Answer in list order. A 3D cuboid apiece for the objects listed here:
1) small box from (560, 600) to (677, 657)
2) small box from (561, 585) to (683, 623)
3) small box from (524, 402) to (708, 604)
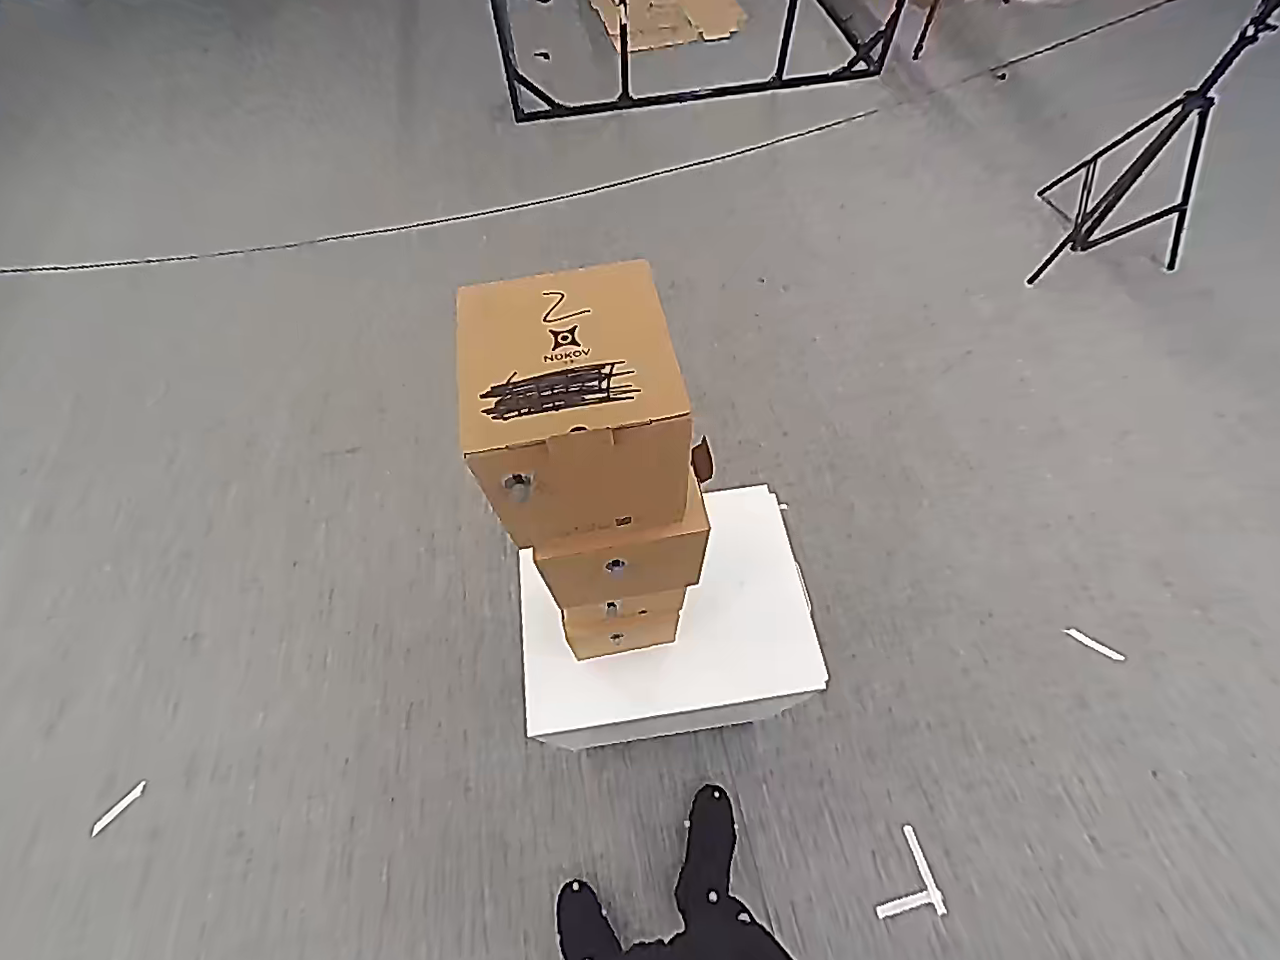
[{"bbox_3d":[-0.040,0.191,0.917,0.179,0.176,0.168,-9,62,-5],"label":"small box"},{"bbox_3d":[-0.031,0.099,0.783,0.168,0.176,0.179,-9,60,-4],"label":"small box"},{"bbox_3d":[-0.029,0.034,0.630,0.179,0.176,0.168,-9,61,-5],"label":"small box"}]
